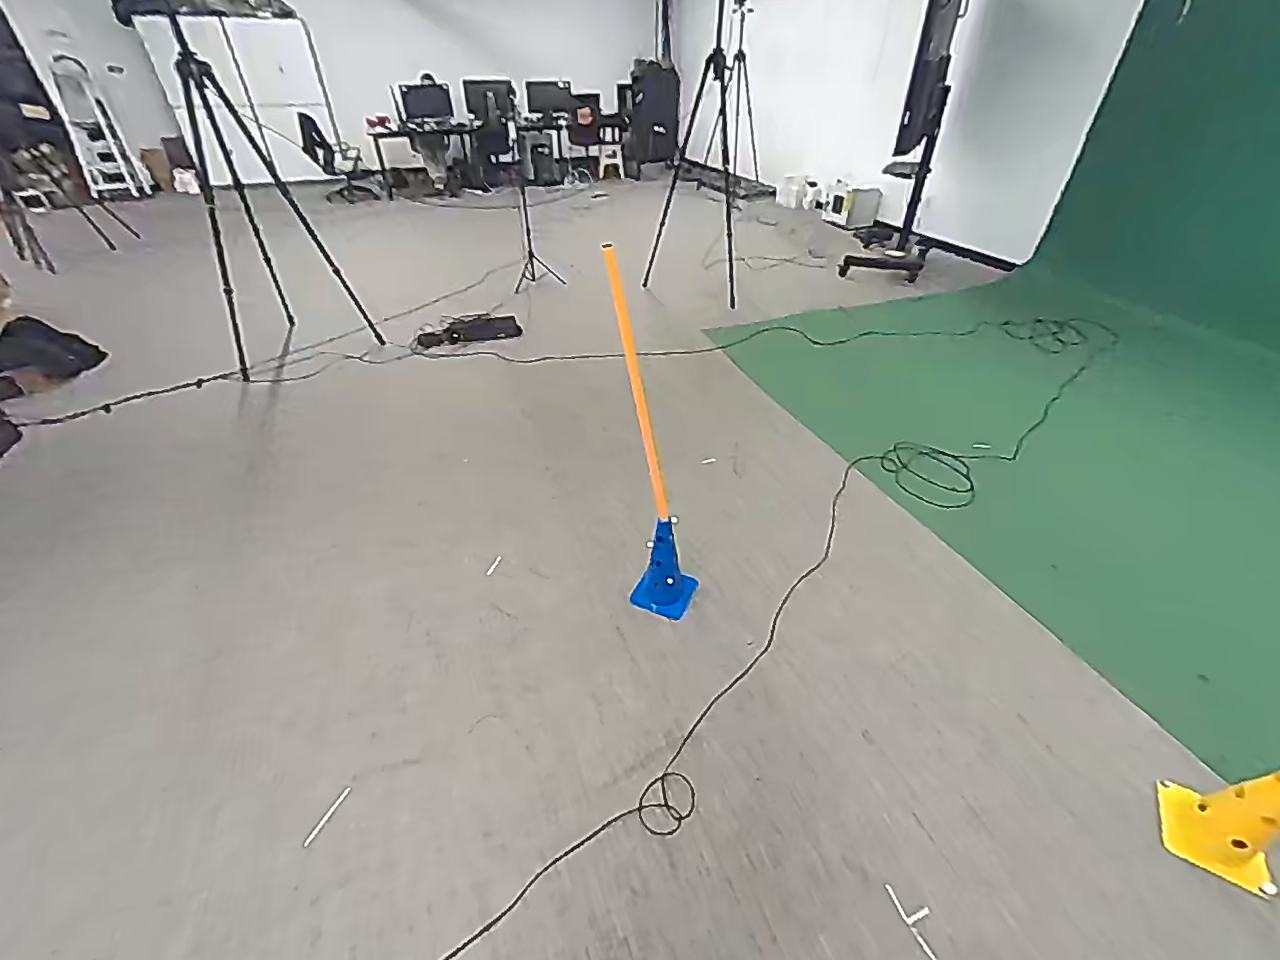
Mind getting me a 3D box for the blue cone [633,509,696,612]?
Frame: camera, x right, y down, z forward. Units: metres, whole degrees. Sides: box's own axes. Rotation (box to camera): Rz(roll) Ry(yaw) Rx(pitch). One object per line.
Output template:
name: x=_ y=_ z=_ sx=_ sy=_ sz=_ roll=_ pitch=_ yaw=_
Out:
blue cone: x=0.079 y=0.252 z=1.810 sx=0.193 sy=0.380 sz=0.192 roll=13 pitch=42 yaw=20
